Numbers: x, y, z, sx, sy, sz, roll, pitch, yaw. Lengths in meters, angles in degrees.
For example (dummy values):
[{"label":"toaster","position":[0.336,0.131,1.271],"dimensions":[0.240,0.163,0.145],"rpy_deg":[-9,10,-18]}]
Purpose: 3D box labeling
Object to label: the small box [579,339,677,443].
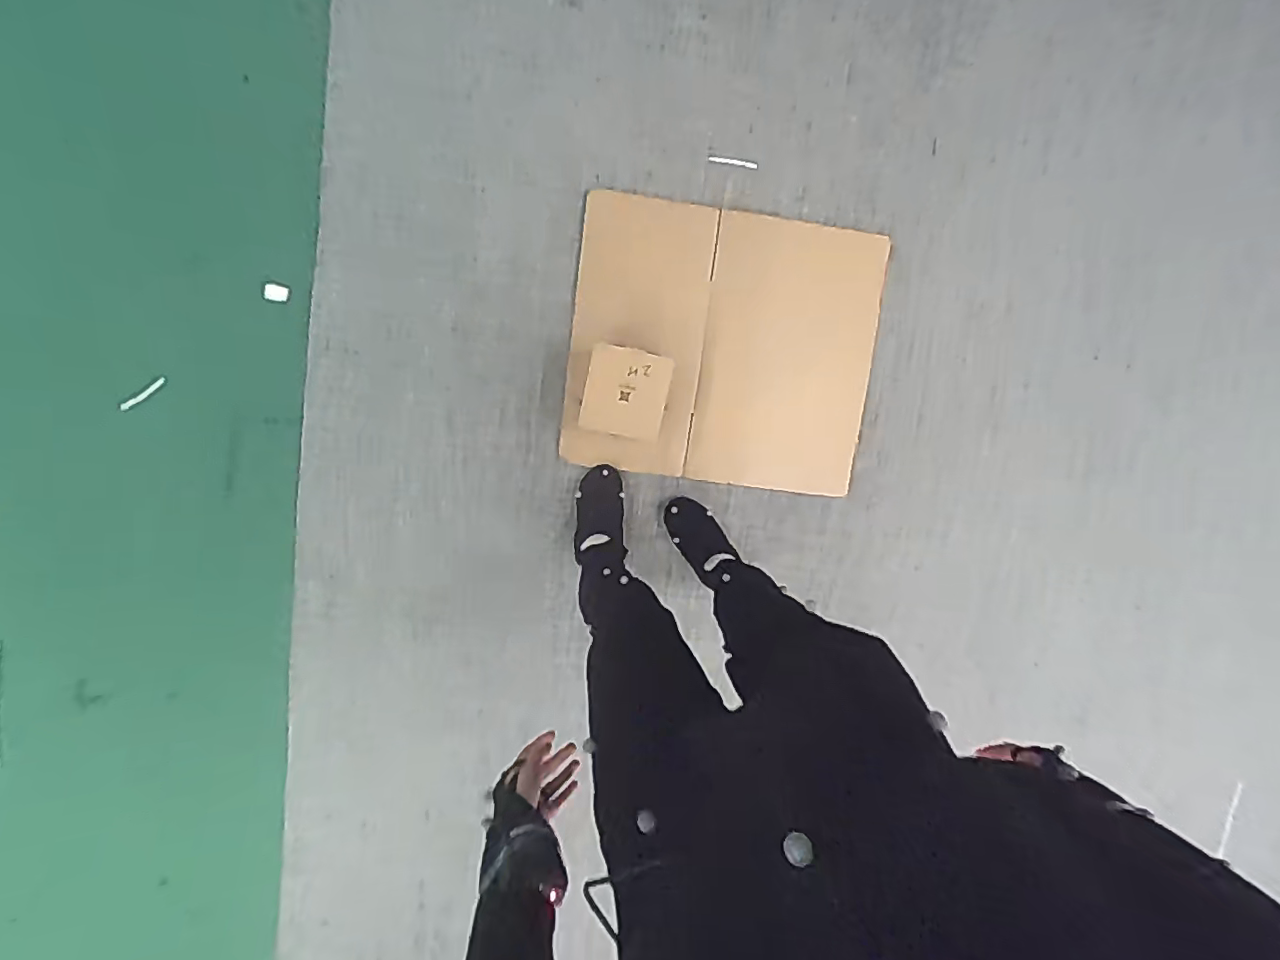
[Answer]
[{"label":"small box","position":[-0.027,-0.186,1.153],"dimensions":[0.168,0.176,0.179],"rpy_deg":[13,97,-6]}]
